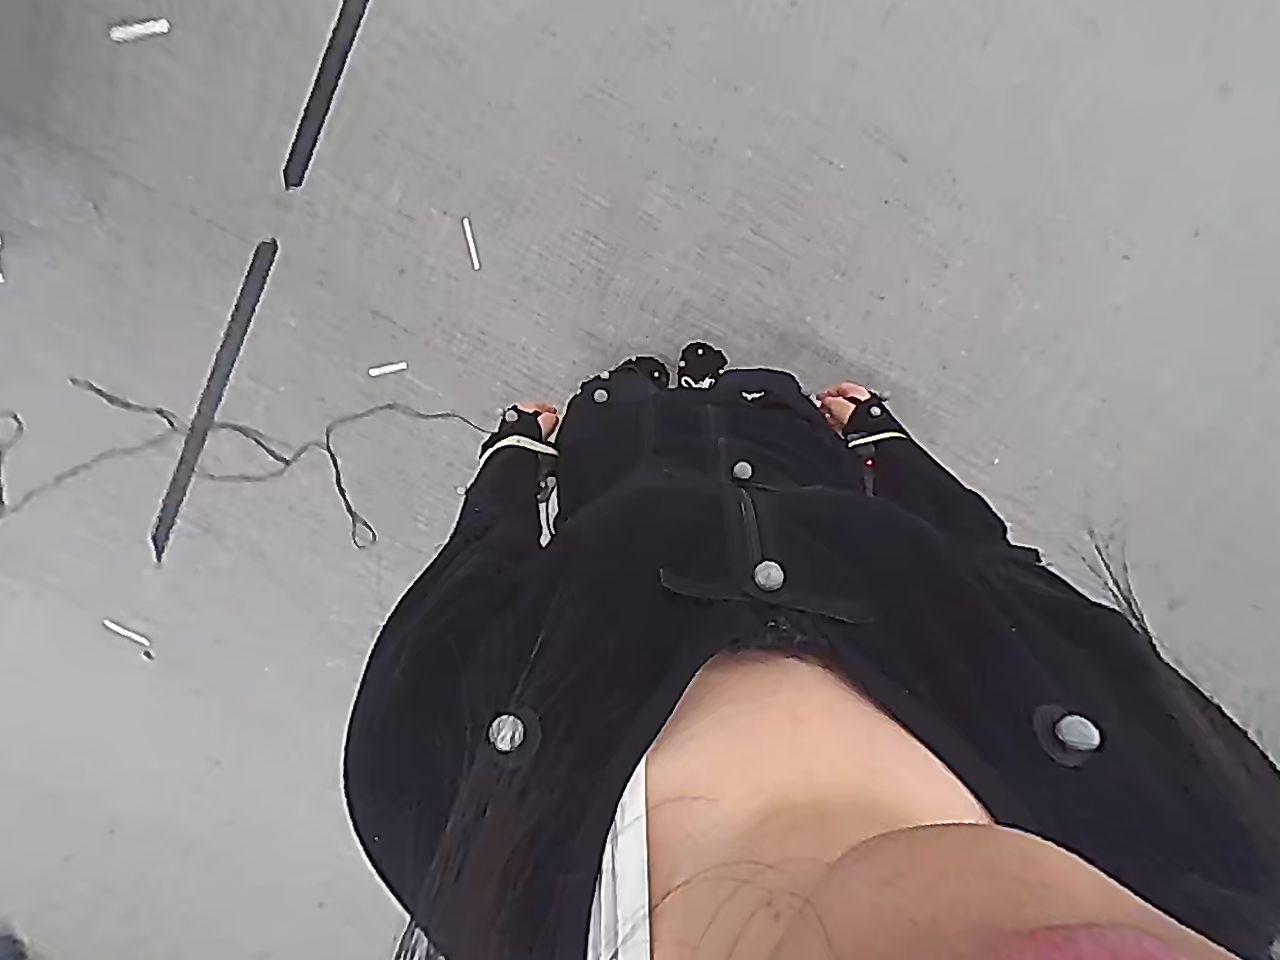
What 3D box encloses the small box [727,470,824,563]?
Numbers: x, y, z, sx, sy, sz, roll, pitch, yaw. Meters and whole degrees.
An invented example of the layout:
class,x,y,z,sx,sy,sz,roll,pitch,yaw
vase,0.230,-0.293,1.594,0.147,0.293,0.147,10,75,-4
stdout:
class,x,y,z,sx,sy,sz,roll,pitch,yaw
small box,0.345,0.088,1.414,0.179,0.176,0.168,20,104,-4
